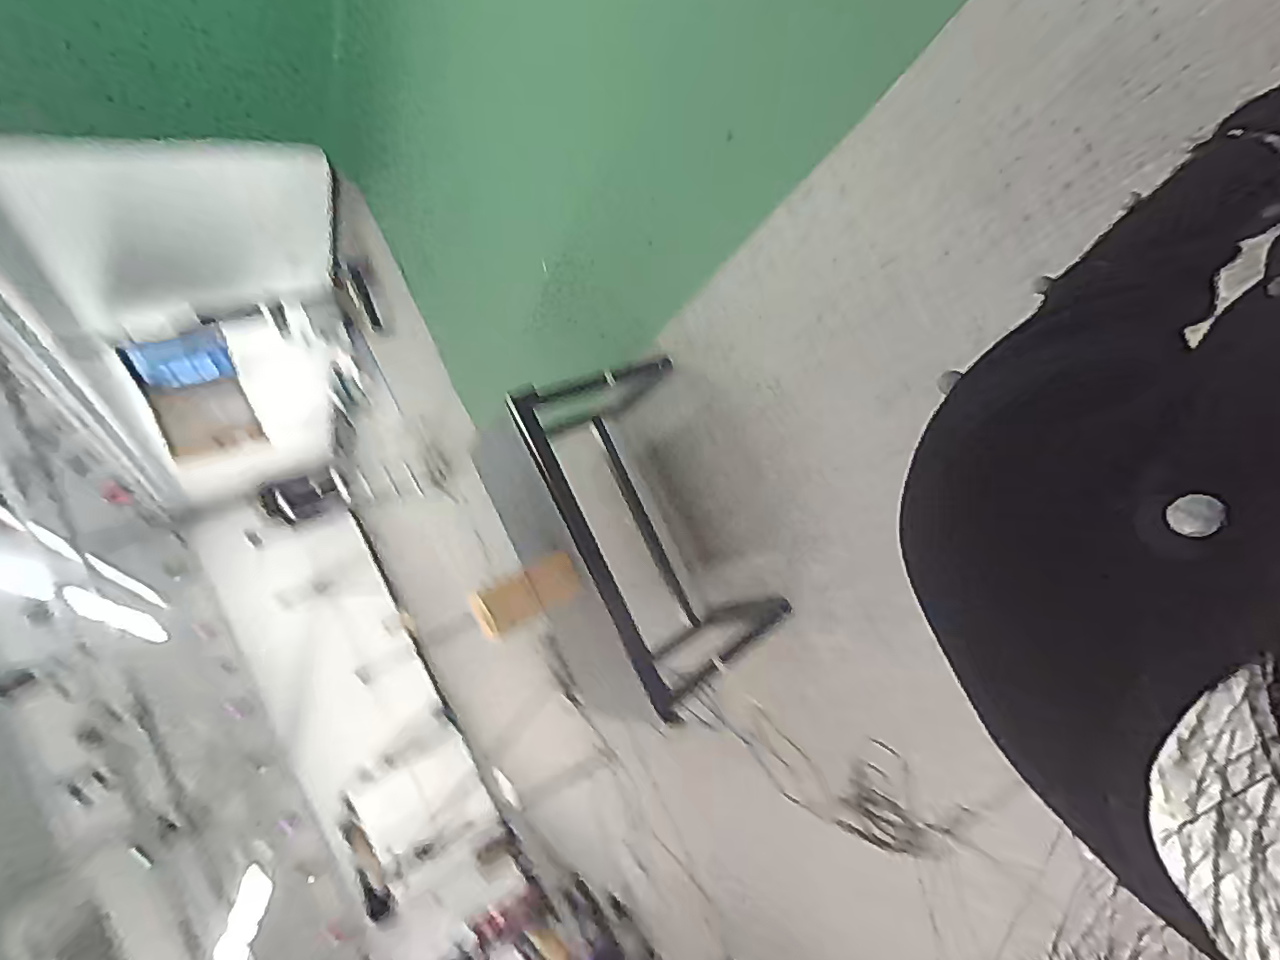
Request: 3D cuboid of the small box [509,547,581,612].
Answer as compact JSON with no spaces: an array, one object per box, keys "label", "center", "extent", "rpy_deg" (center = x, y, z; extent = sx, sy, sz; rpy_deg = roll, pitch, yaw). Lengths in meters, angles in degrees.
[{"label":"small box","center":[-0.330,0.348,1.894],"extent":[0.179,0.176,0.168],"rpy_deg":[-27,87,56]}]
